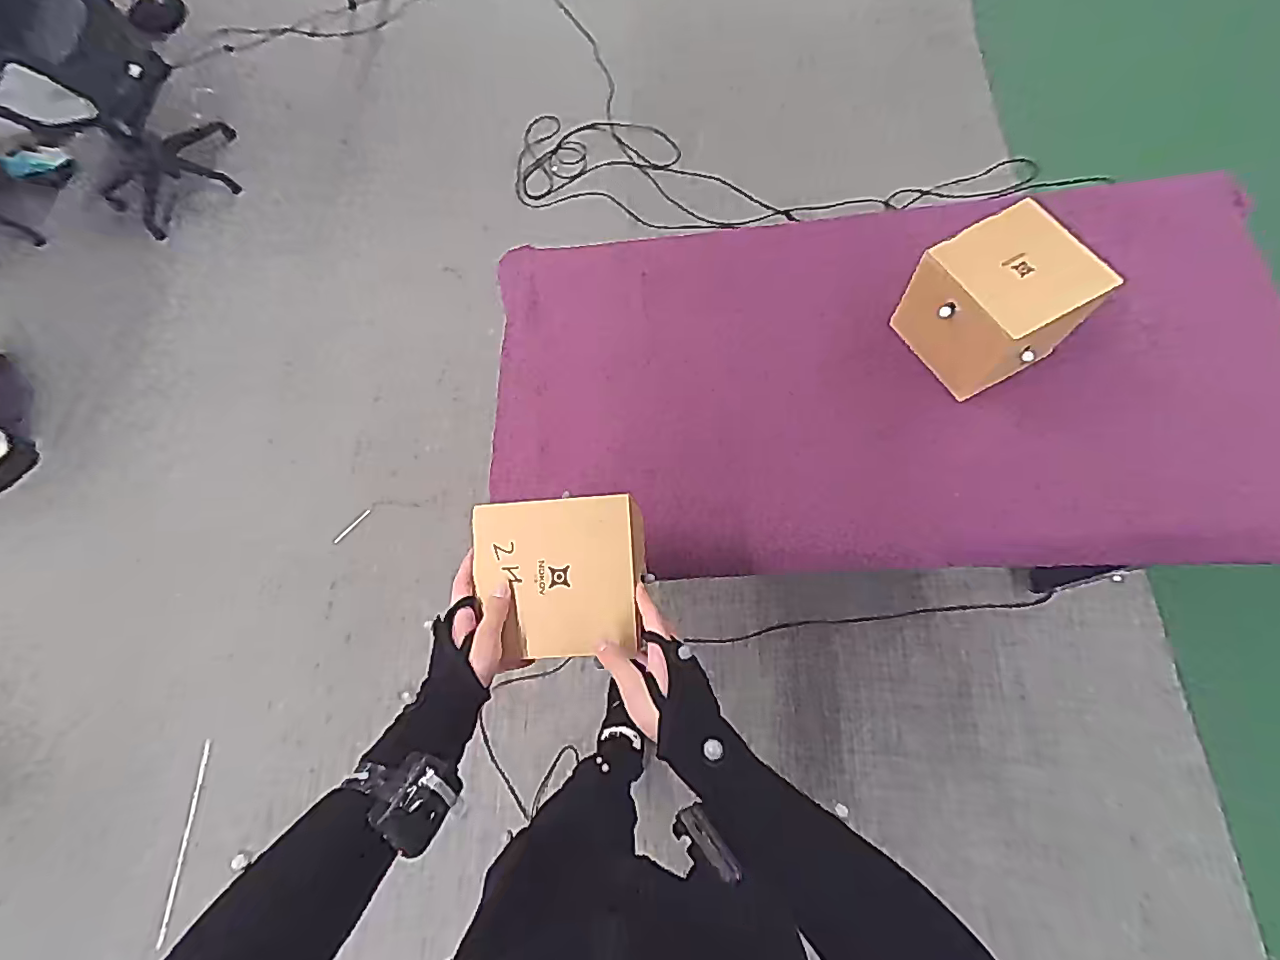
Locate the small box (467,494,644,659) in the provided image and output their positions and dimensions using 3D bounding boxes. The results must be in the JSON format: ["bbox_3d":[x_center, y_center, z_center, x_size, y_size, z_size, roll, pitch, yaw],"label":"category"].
[{"bbox_3d":[-0.088,0.114,0.641,0.179,0.176,0.168,-4,78,5],"label":"small box"}]

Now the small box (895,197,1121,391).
[{"bbox_3d":[0.505,-0.251,0.776,0.168,0.176,0.179,-29,68,-2],"label":"small box"}]
